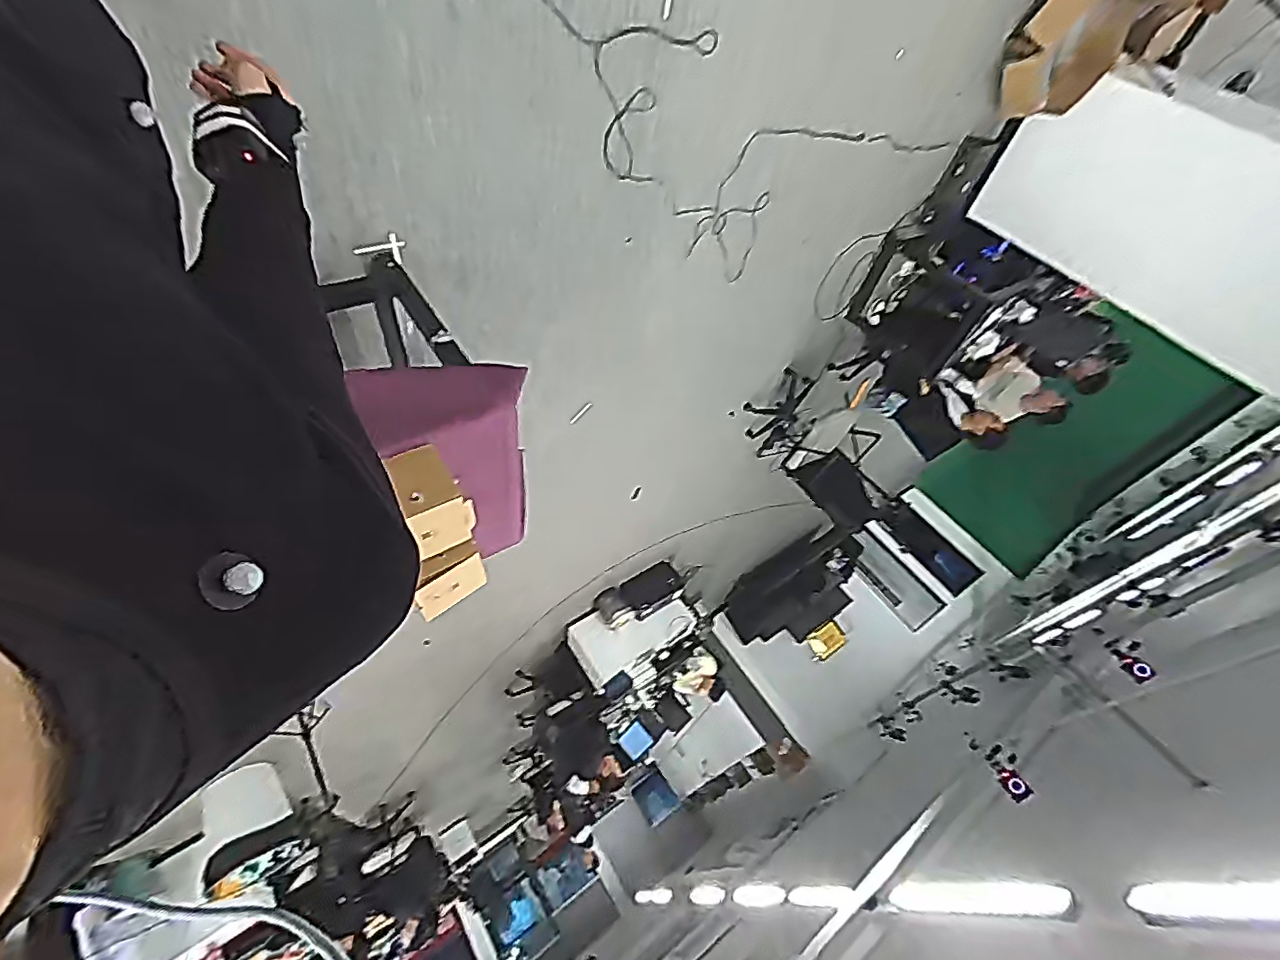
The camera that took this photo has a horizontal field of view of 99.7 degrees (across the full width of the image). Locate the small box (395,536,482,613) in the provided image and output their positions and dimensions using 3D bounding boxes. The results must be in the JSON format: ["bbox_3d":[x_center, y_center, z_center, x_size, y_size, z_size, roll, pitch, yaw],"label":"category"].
[{"bbox_3d":[-0.522,0.195,1.358,0.179,0.176,0.168,-27,151,-25],"label":"small box"}]

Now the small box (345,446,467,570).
[{"bbox_3d":[-0.498,0.054,1.163,0.179,0.176,0.168,-26,151,-27],"label":"small box"}]
